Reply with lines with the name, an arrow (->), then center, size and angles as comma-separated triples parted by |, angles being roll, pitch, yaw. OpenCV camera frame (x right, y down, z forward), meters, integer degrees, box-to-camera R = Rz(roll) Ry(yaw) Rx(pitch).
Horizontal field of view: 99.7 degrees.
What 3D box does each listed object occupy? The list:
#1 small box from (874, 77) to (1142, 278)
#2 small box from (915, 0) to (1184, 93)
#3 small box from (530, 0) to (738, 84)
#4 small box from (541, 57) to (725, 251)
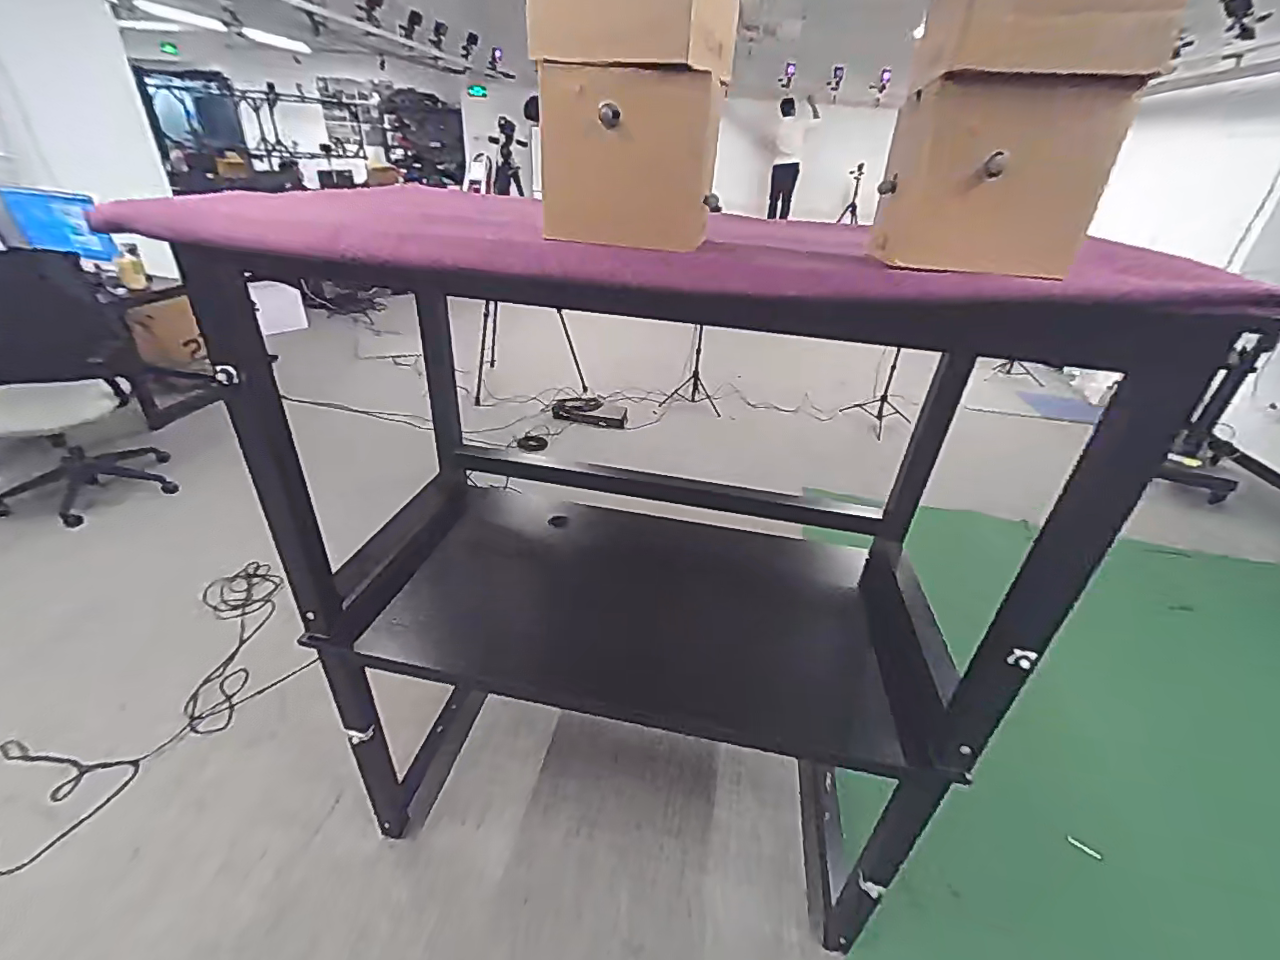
small box -> 0.370, -0.321, 0.591 | 0.179, 0.176, 0.168 | 8, 29, 9
small box -> 0.377, -0.458, 0.502 | 0.179, 0.176, 0.168 | 8, 29, 8
small box -> 0.002, -0.511, 0.550 | 0.179, 0.176, 0.168 | 14, 32, 17
small box -> -0.004, -0.372, 0.633 | 0.179, 0.176, 0.168 | 10, 32, 8
